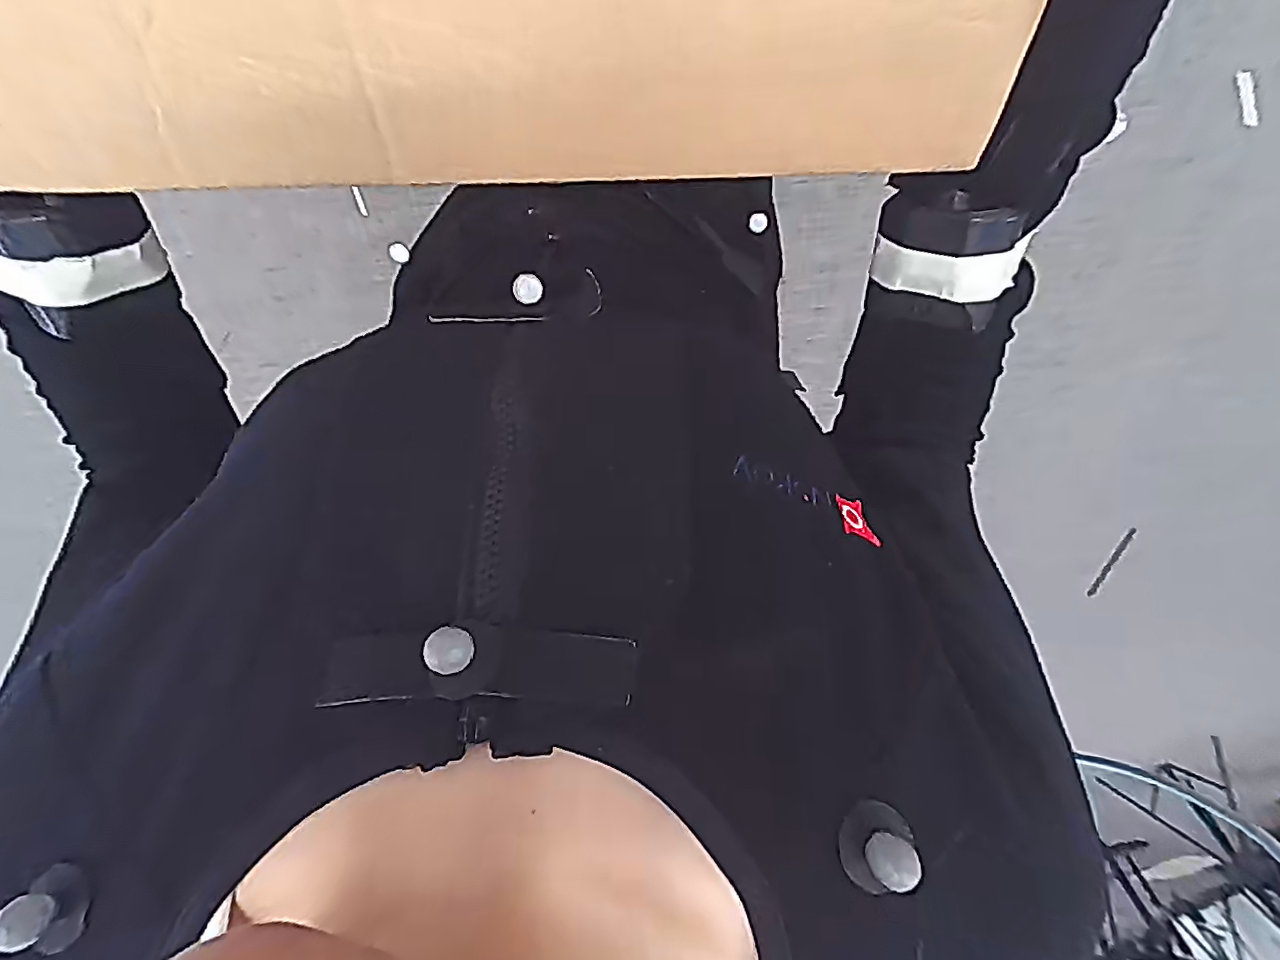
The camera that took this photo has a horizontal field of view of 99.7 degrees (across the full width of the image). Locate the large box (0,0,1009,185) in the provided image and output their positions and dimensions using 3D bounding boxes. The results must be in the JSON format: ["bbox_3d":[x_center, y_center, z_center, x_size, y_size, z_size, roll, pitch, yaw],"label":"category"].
[{"bbox_3d":[-0.069,-0.347,0.211,0.408,0.320,0.320,-2,139,0],"label":"large box"}]
